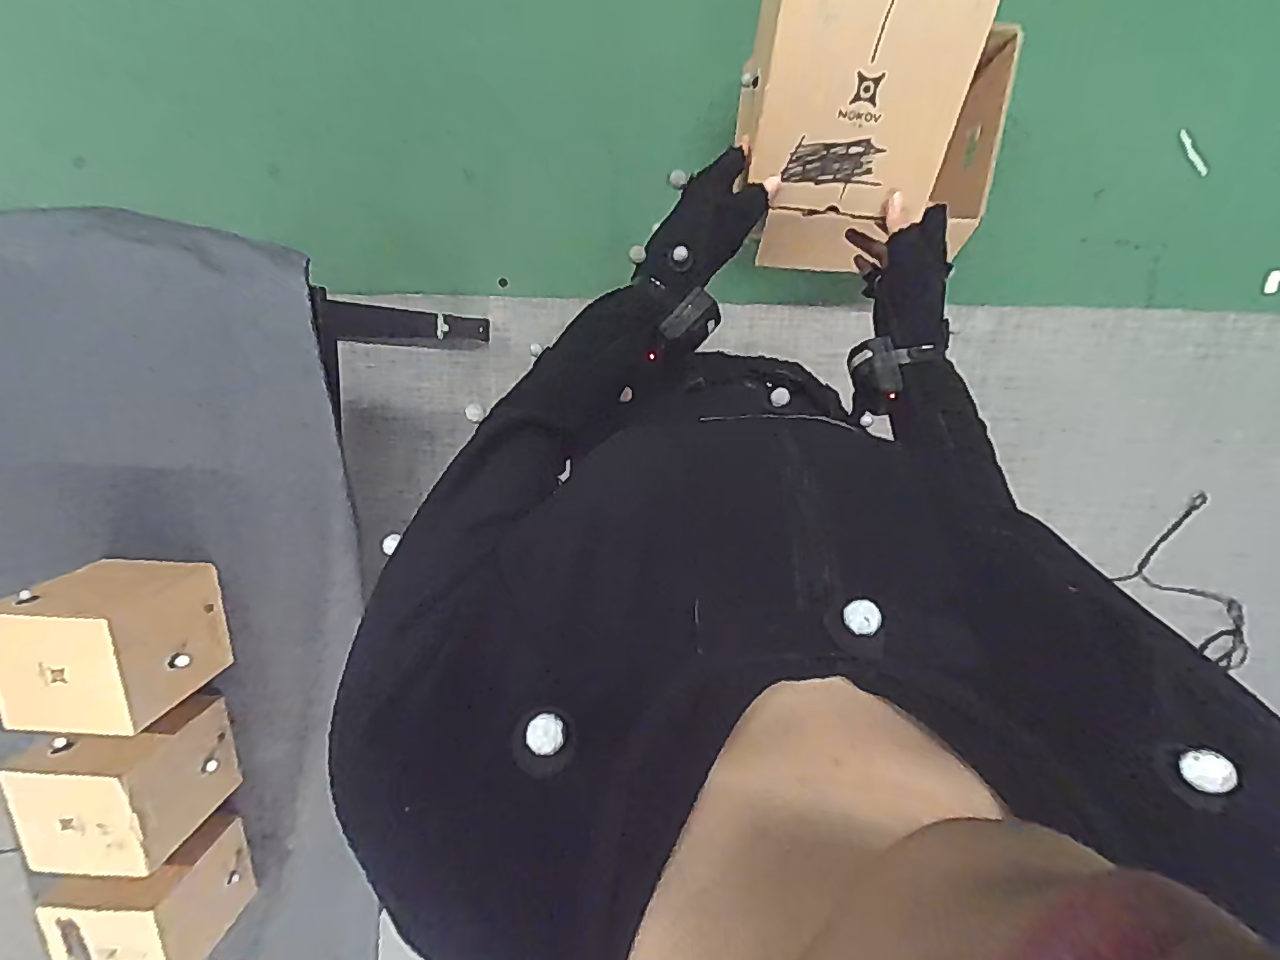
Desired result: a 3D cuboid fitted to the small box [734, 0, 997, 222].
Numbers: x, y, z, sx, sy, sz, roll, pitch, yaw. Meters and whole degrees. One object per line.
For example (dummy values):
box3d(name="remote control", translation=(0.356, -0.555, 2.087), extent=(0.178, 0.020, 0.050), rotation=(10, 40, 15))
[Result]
box3d(name="small box", translation=(0.187, -0.364, 0.513), extent=(0.168, 0.176, 0.179), rotation=(7, 125, -1))

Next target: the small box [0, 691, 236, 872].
box3d(name="small box", translation=(-0.746, 0.426, 0.790), extent=(0.179, 0.176, 0.168), rotation=(1, 104, 3))

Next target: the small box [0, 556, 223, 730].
box3d(name="small box", translation=(-0.713, 0.211, 0.736), extent=(0.179, 0.176, 0.168), rotation=(2, 104, 3))
